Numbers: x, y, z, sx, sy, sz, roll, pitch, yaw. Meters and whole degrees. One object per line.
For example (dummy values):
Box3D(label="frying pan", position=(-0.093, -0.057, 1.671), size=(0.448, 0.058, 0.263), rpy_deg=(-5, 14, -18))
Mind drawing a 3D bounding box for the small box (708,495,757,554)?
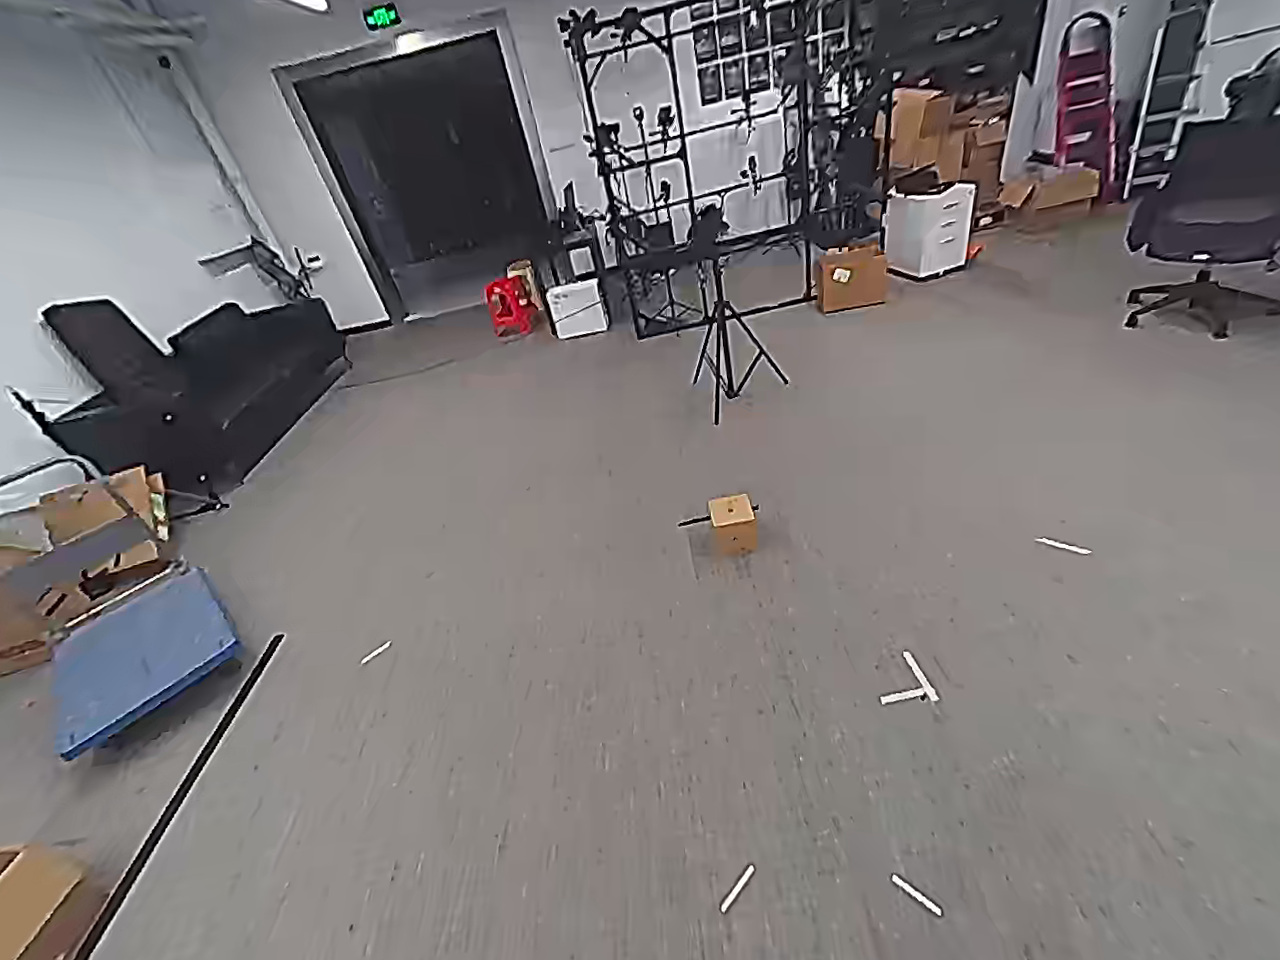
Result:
Box3D(label="small box", position=(0.382, 0.190, 2.231), size=(0.168, 0.176, 0.179), rpy_deg=(-10, 33, 5))
